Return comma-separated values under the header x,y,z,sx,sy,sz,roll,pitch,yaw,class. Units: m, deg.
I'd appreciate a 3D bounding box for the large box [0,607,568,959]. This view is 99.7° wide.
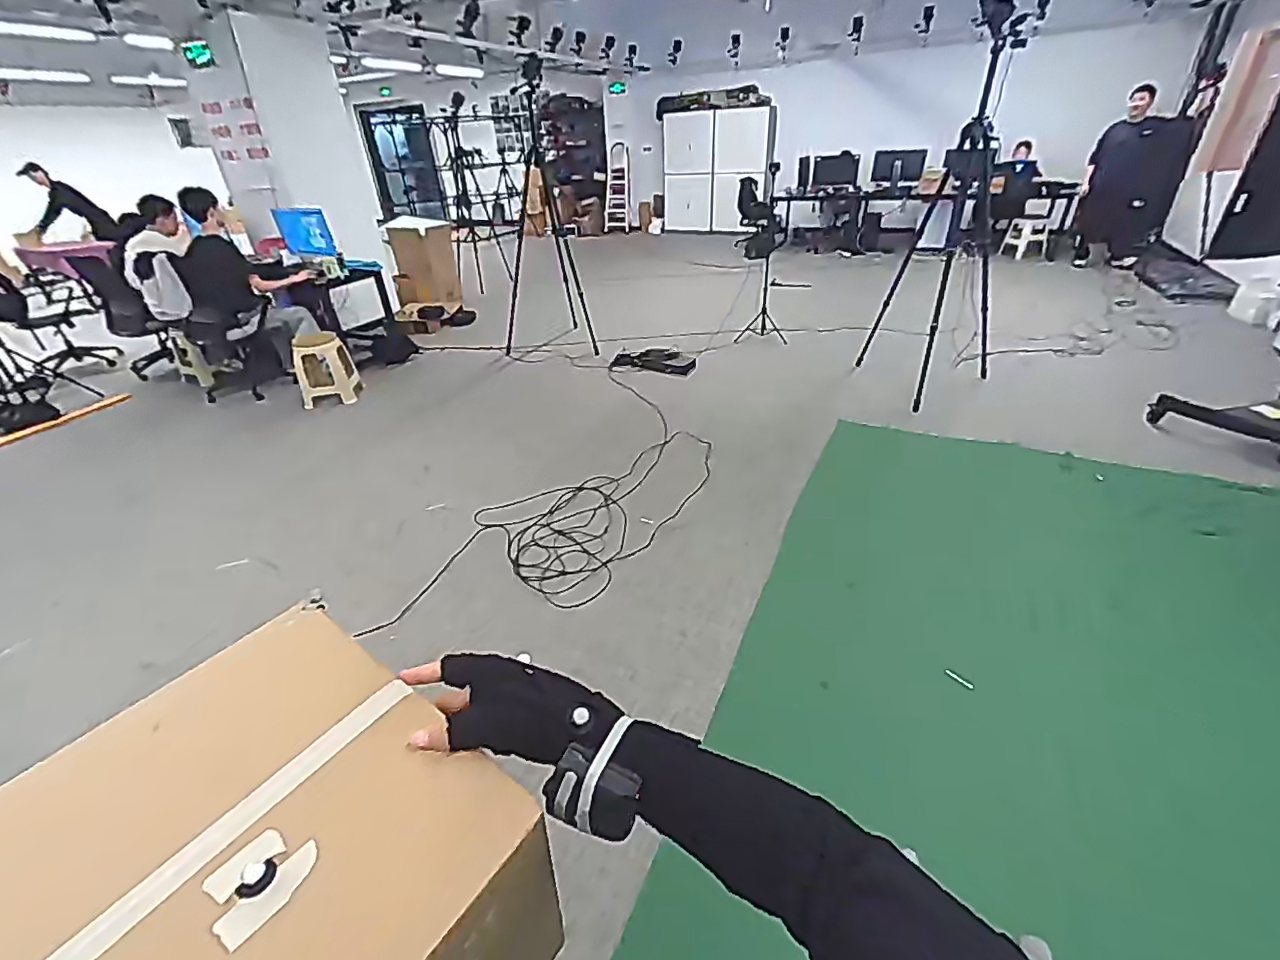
x,y,z,sx,sy,sz,roll,pitch,yaw,class
-0.306,0.392,0.424,0.320,0.320,0.408,25,42,27,large box
